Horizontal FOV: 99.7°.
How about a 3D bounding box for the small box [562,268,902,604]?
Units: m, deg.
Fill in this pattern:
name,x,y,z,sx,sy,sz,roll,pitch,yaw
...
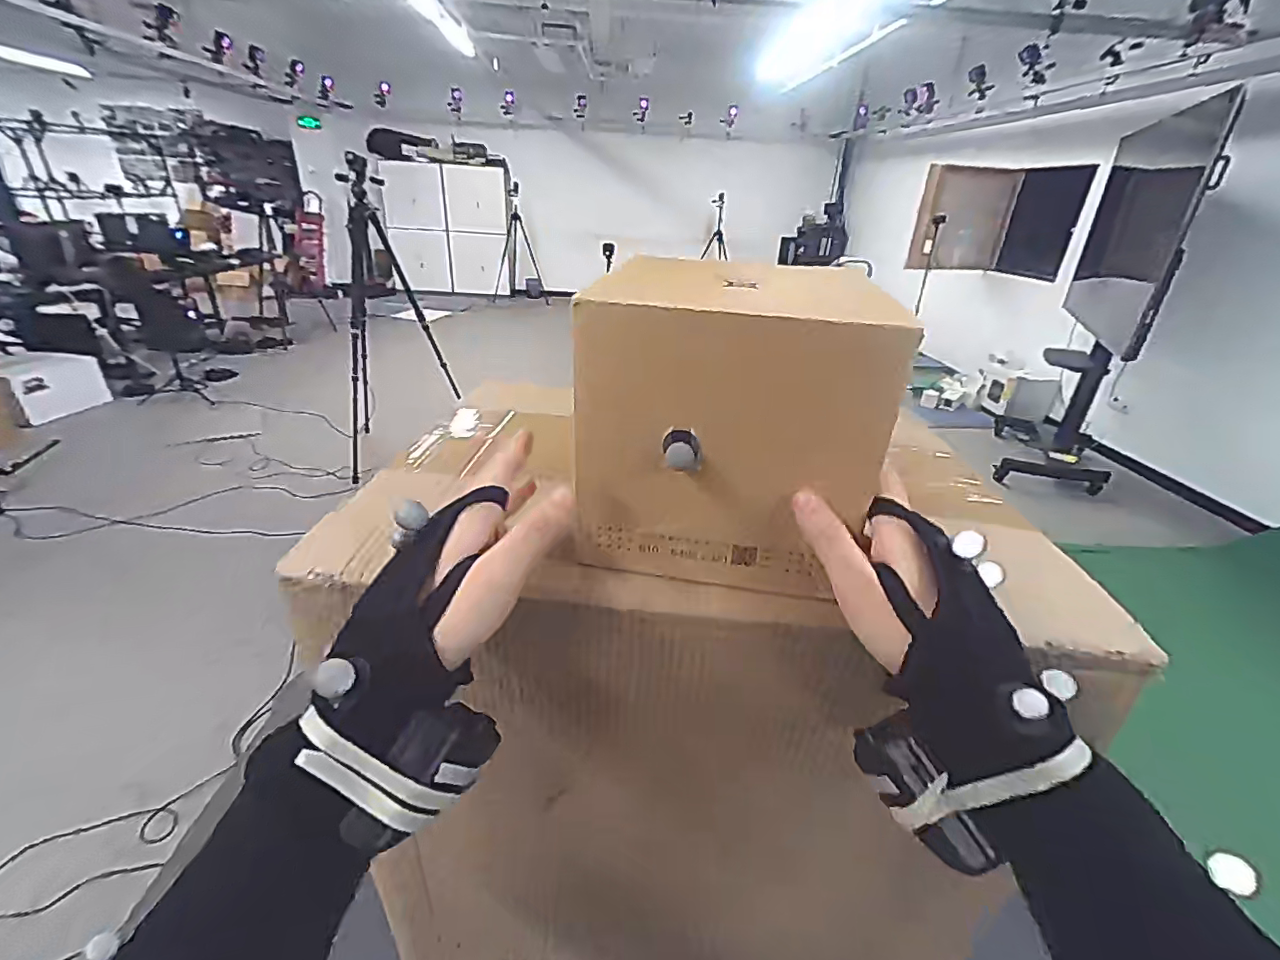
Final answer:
name,x,y,z,sx,sy,sz,roll,pitch,yaw
small box,0.053,-0.040,0.367,0.168,0.176,0.179,7,30,7
